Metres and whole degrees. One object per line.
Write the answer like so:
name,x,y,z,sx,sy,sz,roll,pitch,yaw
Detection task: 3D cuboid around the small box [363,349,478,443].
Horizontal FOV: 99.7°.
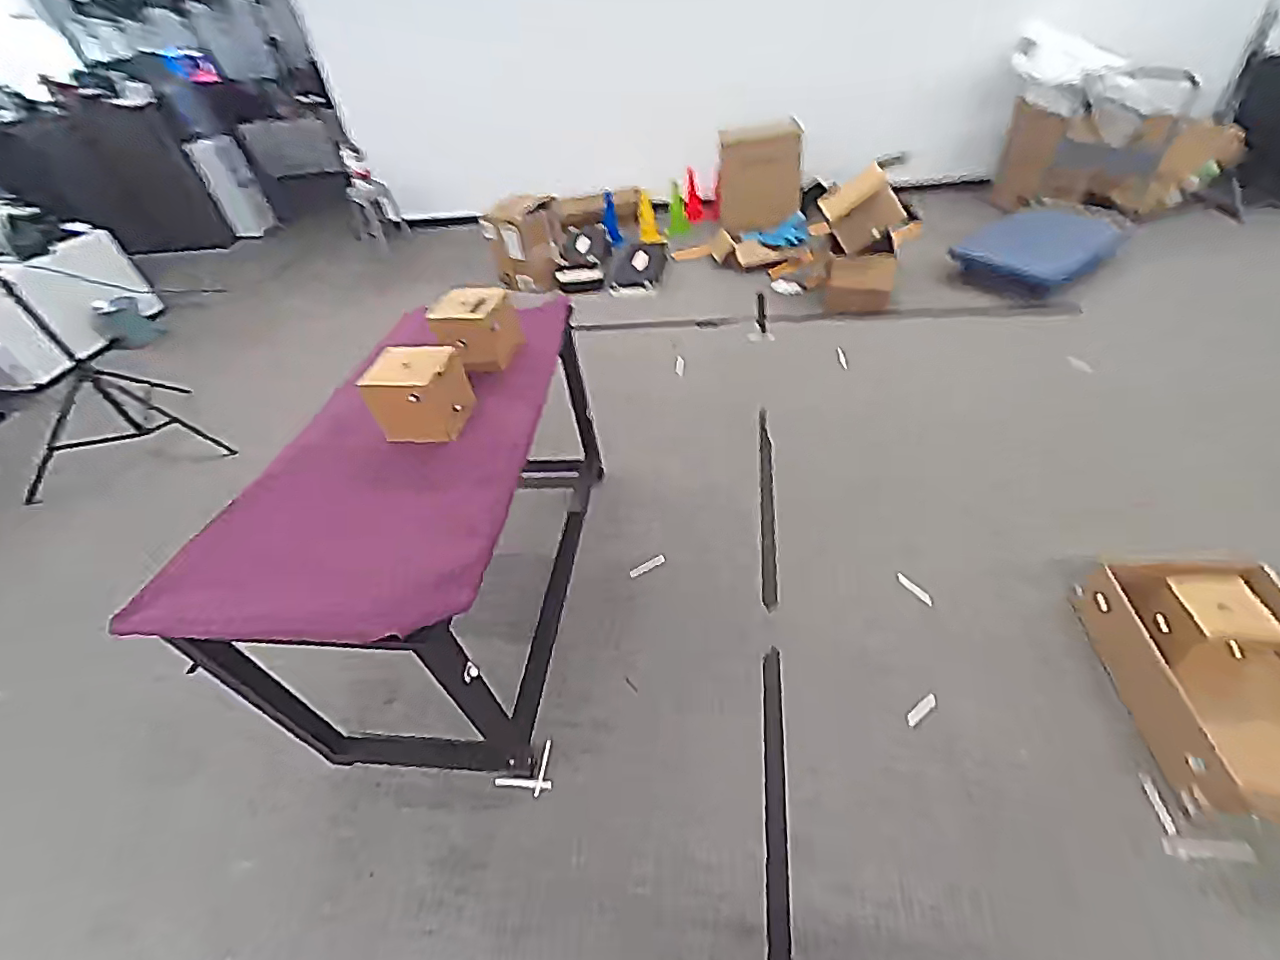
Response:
small box,-0.525,-0.203,1.321,0.179,0.176,0.168,2,44,10

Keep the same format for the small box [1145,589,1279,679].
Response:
small box,1.458,0.396,1.387,0.179,0.176,0.168,-1,45,8
